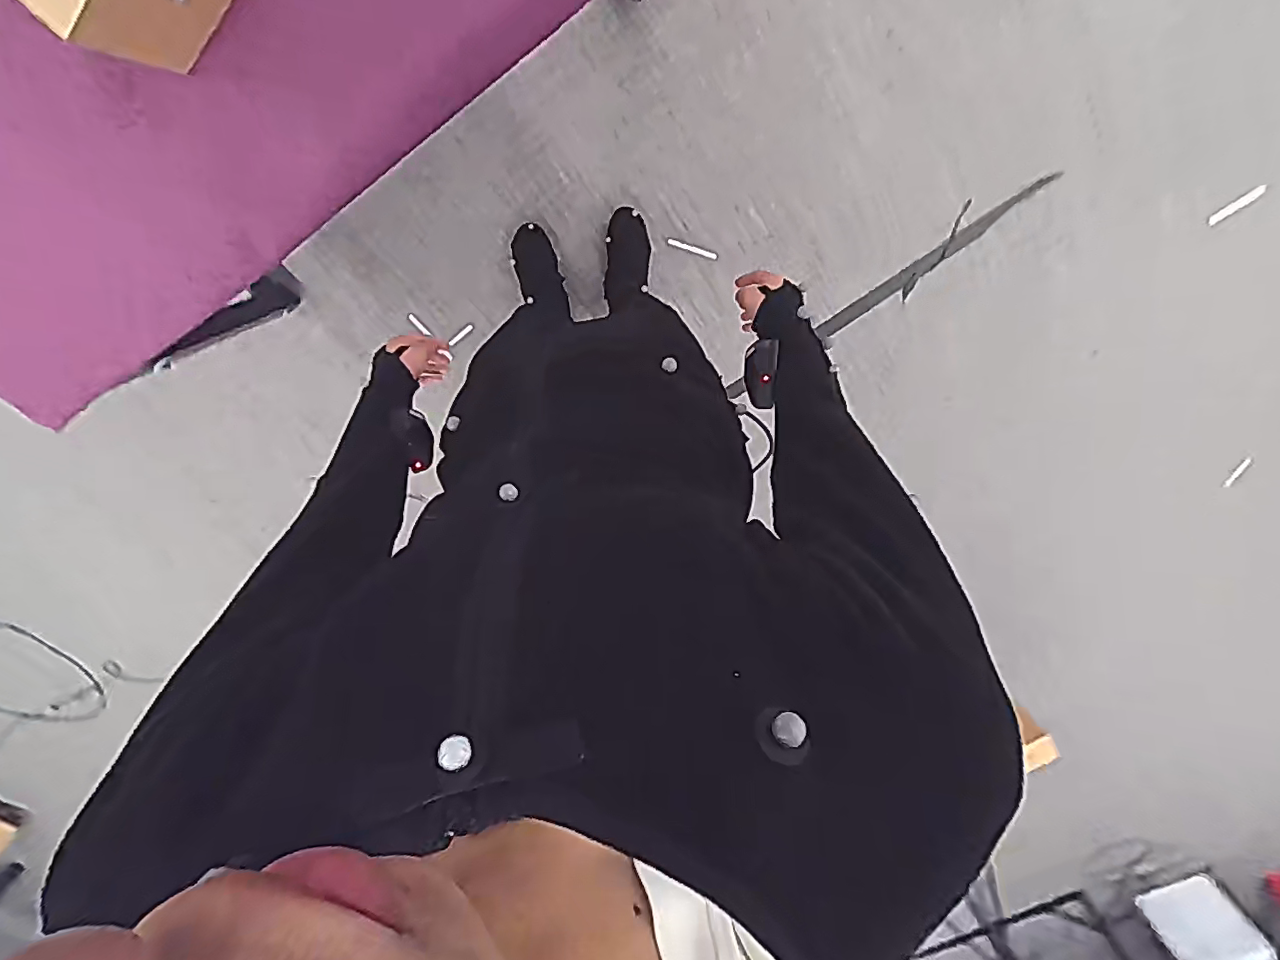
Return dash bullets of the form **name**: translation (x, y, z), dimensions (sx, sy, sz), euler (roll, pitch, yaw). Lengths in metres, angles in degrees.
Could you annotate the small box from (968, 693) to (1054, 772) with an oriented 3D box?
- **small box**: translation (1.331, 0.903, 1.946), dimensions (0.179, 0.176, 0.168), euler (-34, 117, 11)
